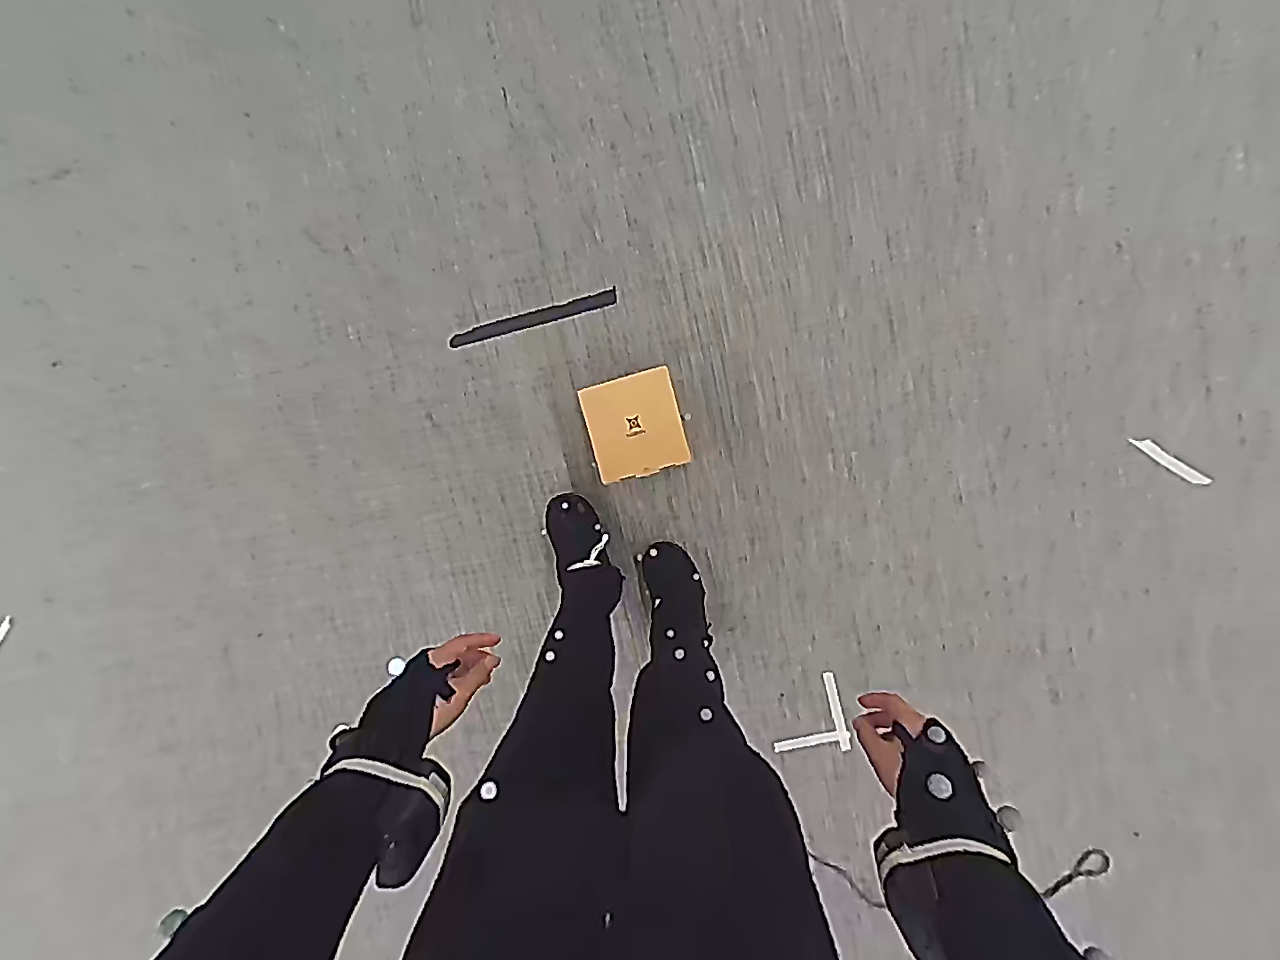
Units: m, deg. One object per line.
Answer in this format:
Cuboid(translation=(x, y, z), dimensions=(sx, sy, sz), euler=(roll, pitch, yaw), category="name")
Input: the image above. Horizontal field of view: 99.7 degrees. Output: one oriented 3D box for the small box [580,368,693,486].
Cuboid(translation=(-0.001, -0.099, 1.027), dimensions=(0.168, 0.176, 0.179), euler=(-15, 95, 7), category="small box")
